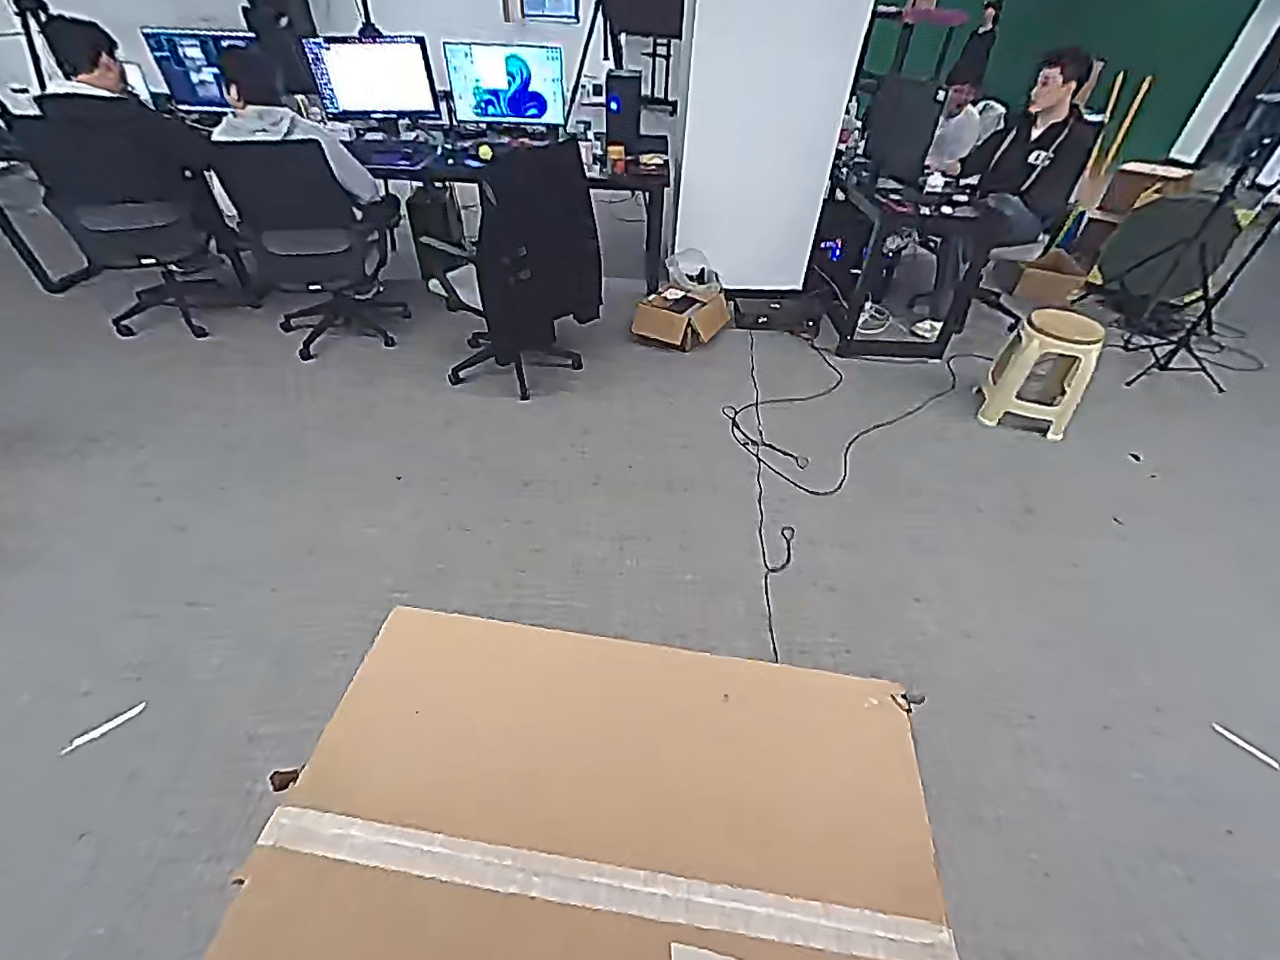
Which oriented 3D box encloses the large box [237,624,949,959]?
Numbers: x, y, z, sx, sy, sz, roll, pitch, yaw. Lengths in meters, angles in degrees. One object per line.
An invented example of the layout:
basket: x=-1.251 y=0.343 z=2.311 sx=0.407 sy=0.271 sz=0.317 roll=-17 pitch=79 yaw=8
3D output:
large box: x=-0.026 y=0.352 z=0.431 sx=0.408 sy=0.320 sz=0.320 roll=8 pitch=46 yaw=4
